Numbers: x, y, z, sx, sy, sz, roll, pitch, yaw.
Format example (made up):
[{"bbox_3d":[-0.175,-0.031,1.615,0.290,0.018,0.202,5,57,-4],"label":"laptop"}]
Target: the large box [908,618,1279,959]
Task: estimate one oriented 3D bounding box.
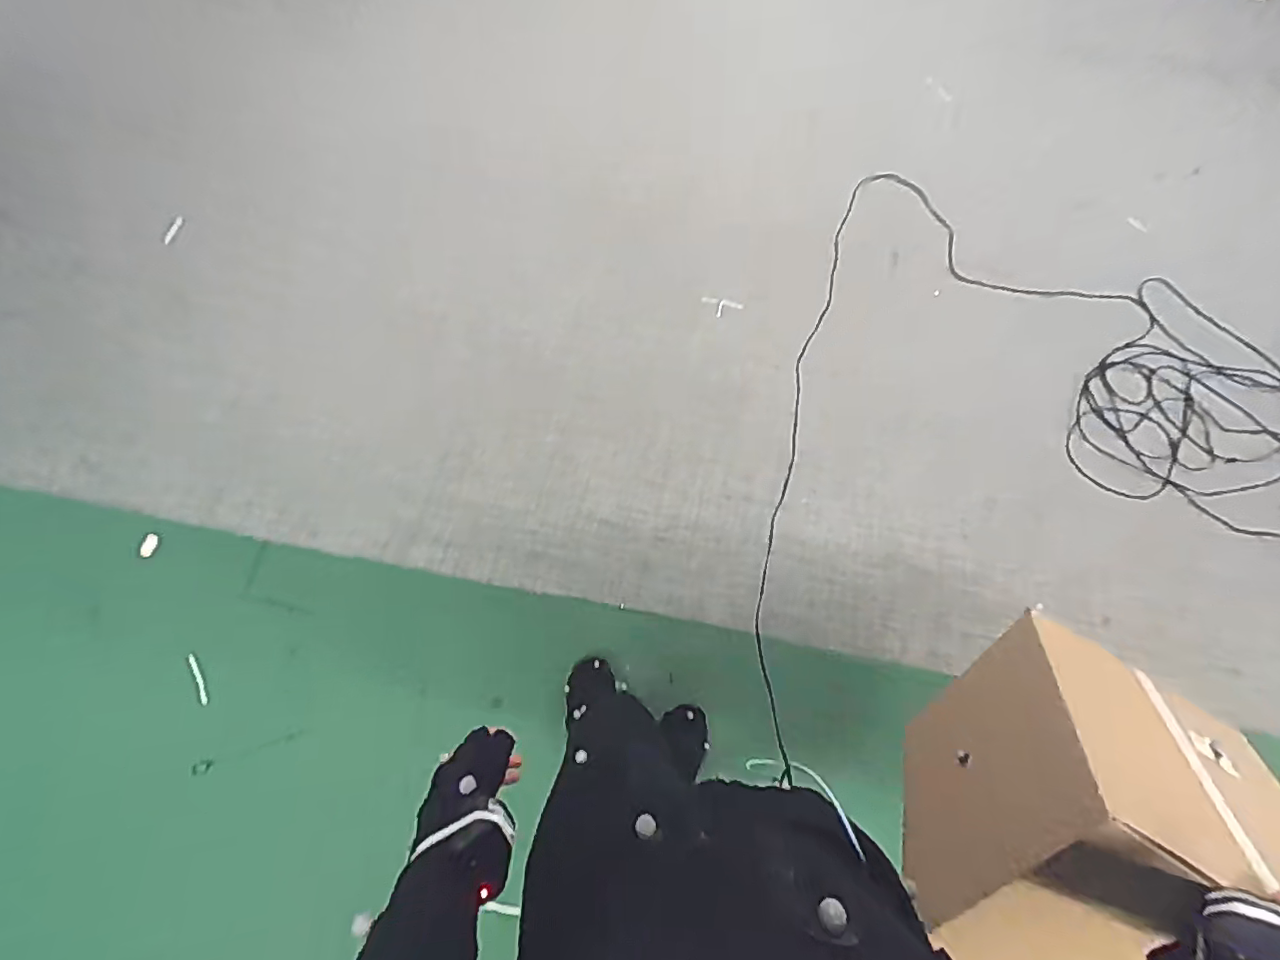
[{"bbox_3d":[0.578,0.465,0.694,0.320,0.320,0.408,34,27,14],"label":"large box"}]
